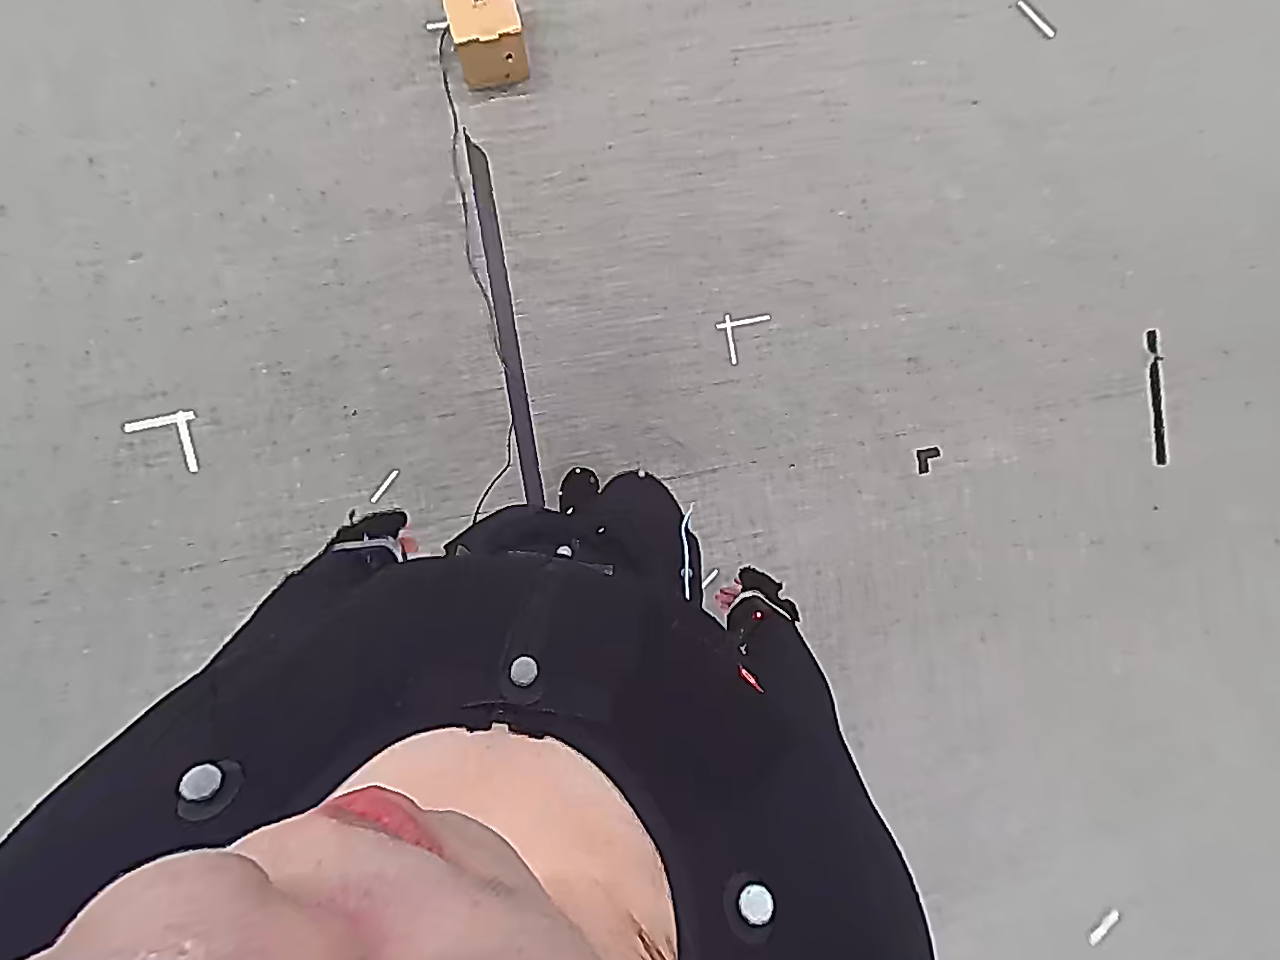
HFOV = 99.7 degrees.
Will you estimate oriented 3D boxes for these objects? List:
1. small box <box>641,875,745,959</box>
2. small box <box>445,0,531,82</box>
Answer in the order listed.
[{"bbox_3d":[0.098,0.854,0.954,0.168,0.176,0.179,-11,94,-3],"label":"small box"},{"bbox_3d":[-0.374,-1.120,1.328,0.168,0.176,0.179,-15,93,-4],"label":"small box"}]
